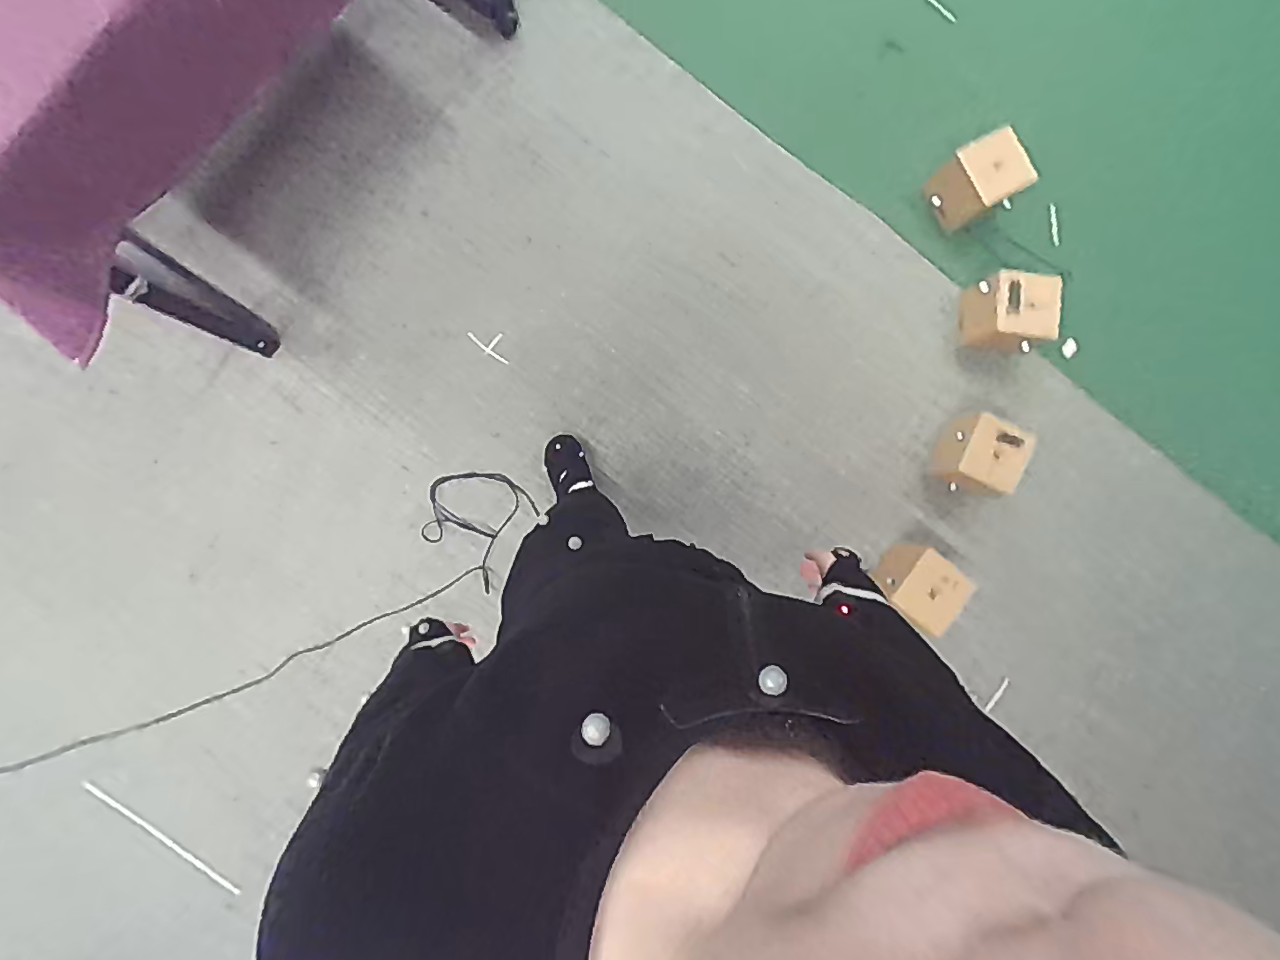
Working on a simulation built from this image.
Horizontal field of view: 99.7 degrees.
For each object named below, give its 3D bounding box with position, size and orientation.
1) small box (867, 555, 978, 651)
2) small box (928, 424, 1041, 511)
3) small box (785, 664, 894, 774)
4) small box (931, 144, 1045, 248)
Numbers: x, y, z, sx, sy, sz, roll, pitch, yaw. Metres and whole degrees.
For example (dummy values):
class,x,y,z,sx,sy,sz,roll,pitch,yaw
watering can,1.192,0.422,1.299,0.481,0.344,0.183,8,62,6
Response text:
class,x,y,z,sx,sy,sz,roll,pitch,yaw
small box,0.743,0.321,1.450,0.168,0.176,0.179,40,86,-1
small box,0.931,-0.029,1.480,0.168,0.176,0.179,28,87,-2
small box,0.513,0.615,1.421,0.179,0.176,0.168,-45,90,-5
small box,0.973,-0.794,1.525,0.179,0.176,0.168,-26,89,-5
